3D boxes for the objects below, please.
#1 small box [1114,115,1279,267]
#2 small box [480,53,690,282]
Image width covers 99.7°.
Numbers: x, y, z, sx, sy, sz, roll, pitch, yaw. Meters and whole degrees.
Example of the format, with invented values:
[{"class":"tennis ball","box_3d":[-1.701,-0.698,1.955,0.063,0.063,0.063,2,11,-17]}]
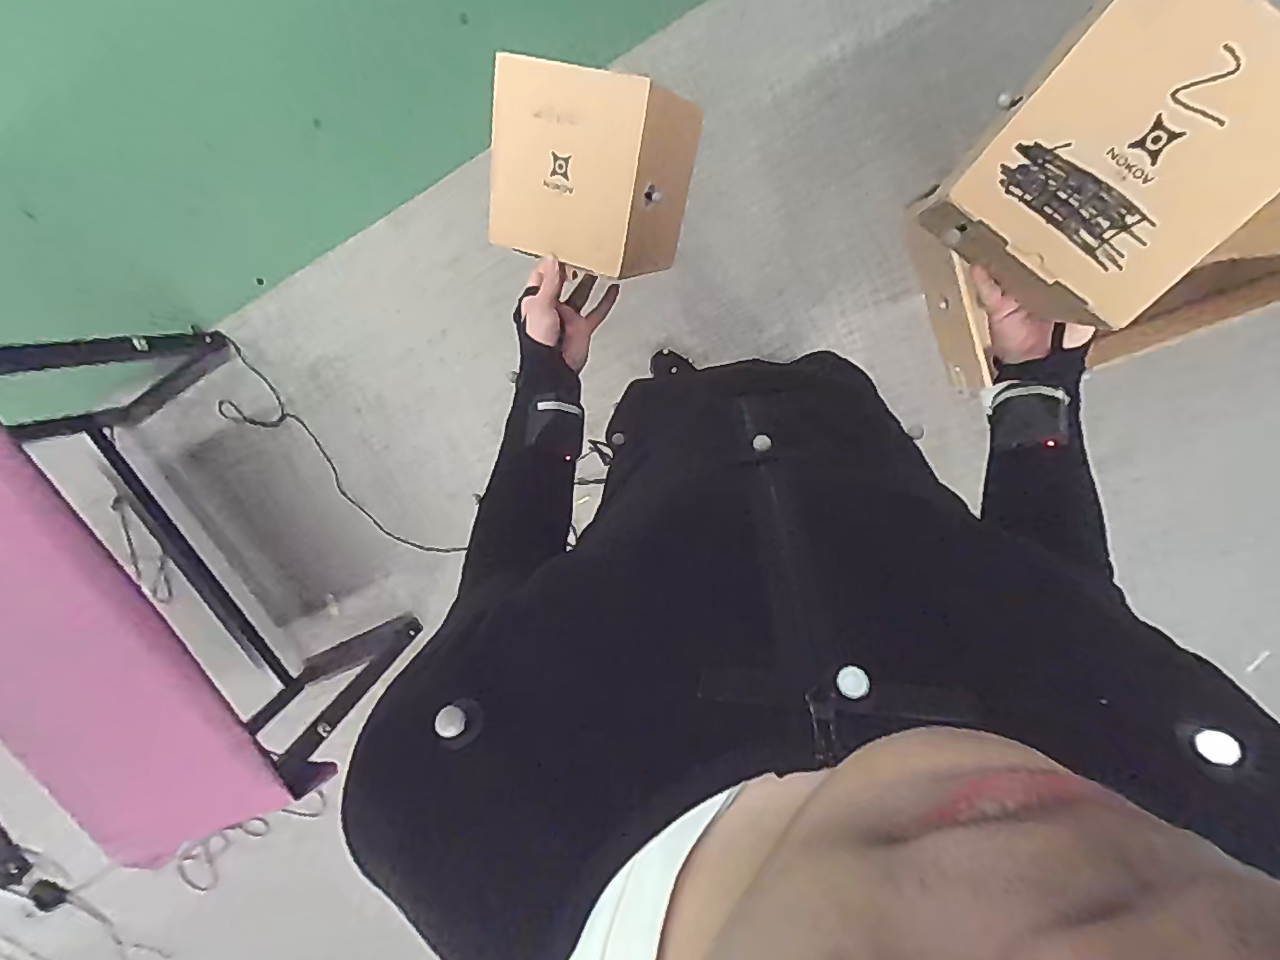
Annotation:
[{"class":"small box","box_3d":[0.939,-0.467,0.883,0.179,0.176,0.168,-21,103,15]},{"class":"small box","box_3d":[-0.057,-0.338,0.602,0.168,0.176,0.179,21,121,15]}]
